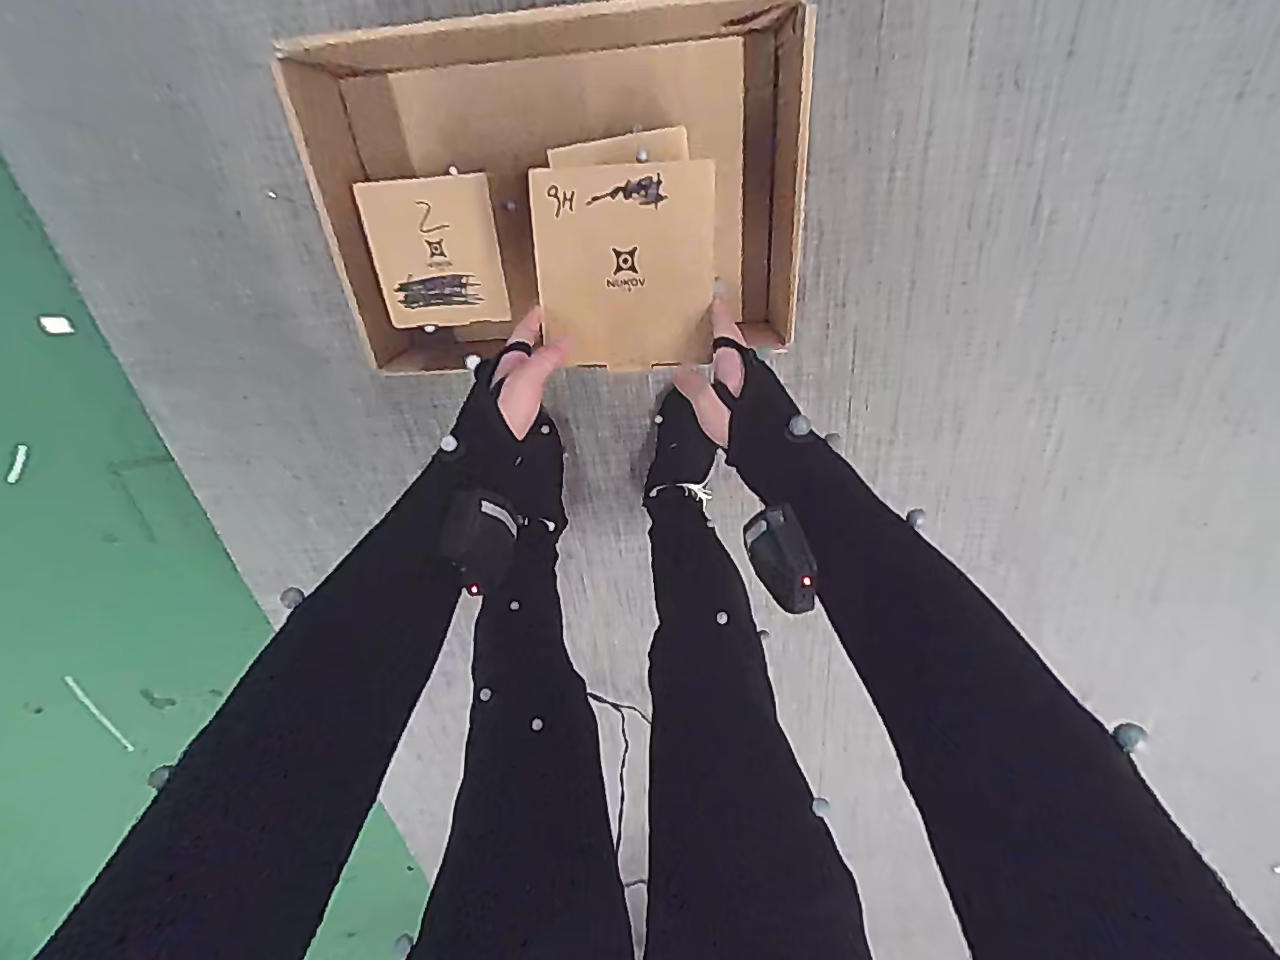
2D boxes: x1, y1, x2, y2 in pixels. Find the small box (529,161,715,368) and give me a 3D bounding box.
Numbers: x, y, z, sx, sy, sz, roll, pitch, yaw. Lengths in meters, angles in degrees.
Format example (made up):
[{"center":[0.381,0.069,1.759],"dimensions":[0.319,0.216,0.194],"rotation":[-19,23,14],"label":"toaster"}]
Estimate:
[{"center":[-0.007,-0.222,0.571],"dimensions":[0.168,0.176,0.179],"rotation":[0,111,5],"label":"small box"}]
